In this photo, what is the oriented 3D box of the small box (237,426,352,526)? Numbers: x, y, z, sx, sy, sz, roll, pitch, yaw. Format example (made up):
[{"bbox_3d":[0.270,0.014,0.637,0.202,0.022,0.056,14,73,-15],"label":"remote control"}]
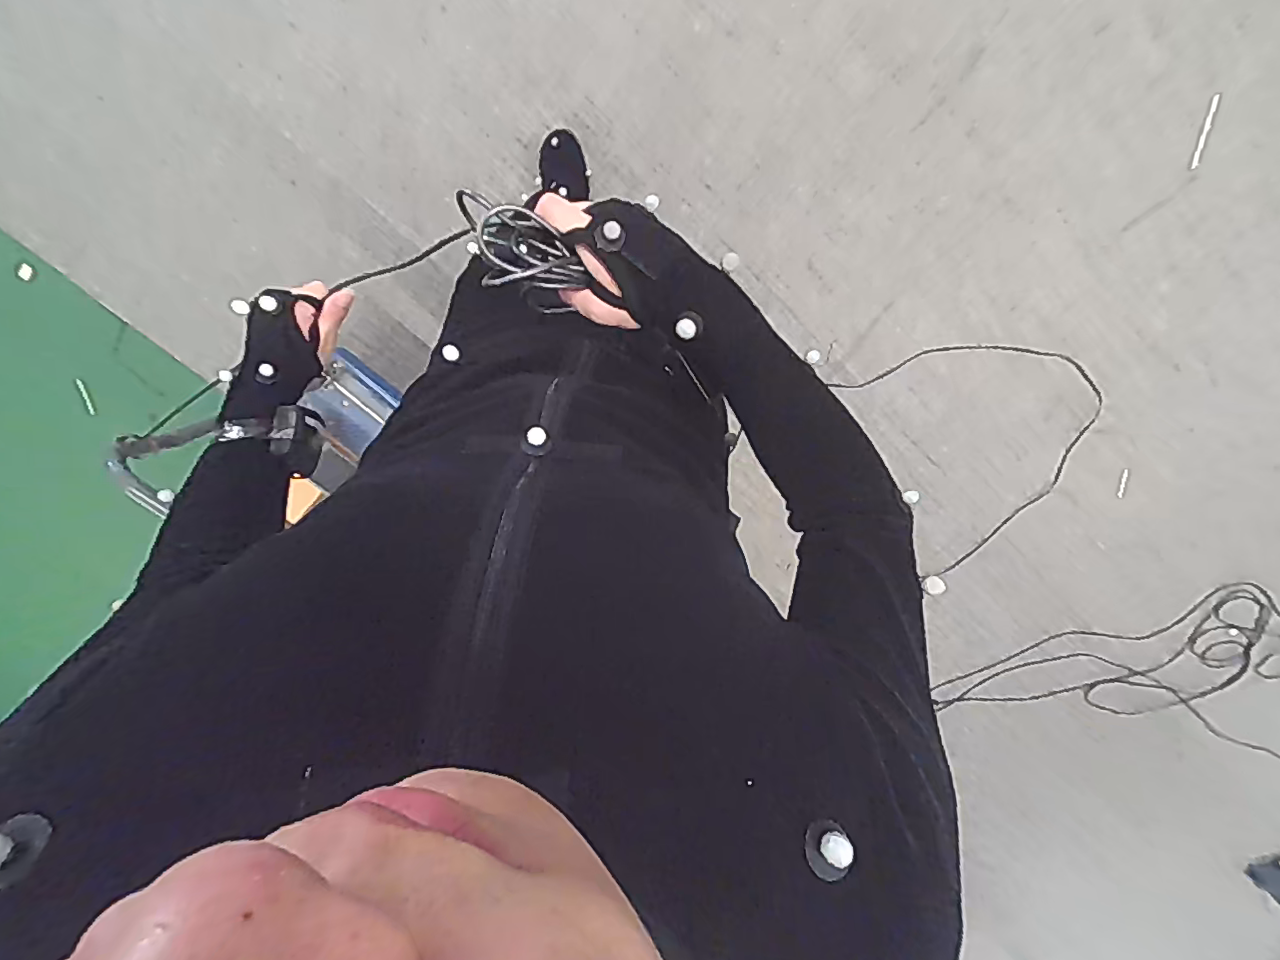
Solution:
[{"bbox_3d":[-0.922,-0.016,1.463,0.179,0.176,0.168,-41,107,19],"label":"small box"}]
